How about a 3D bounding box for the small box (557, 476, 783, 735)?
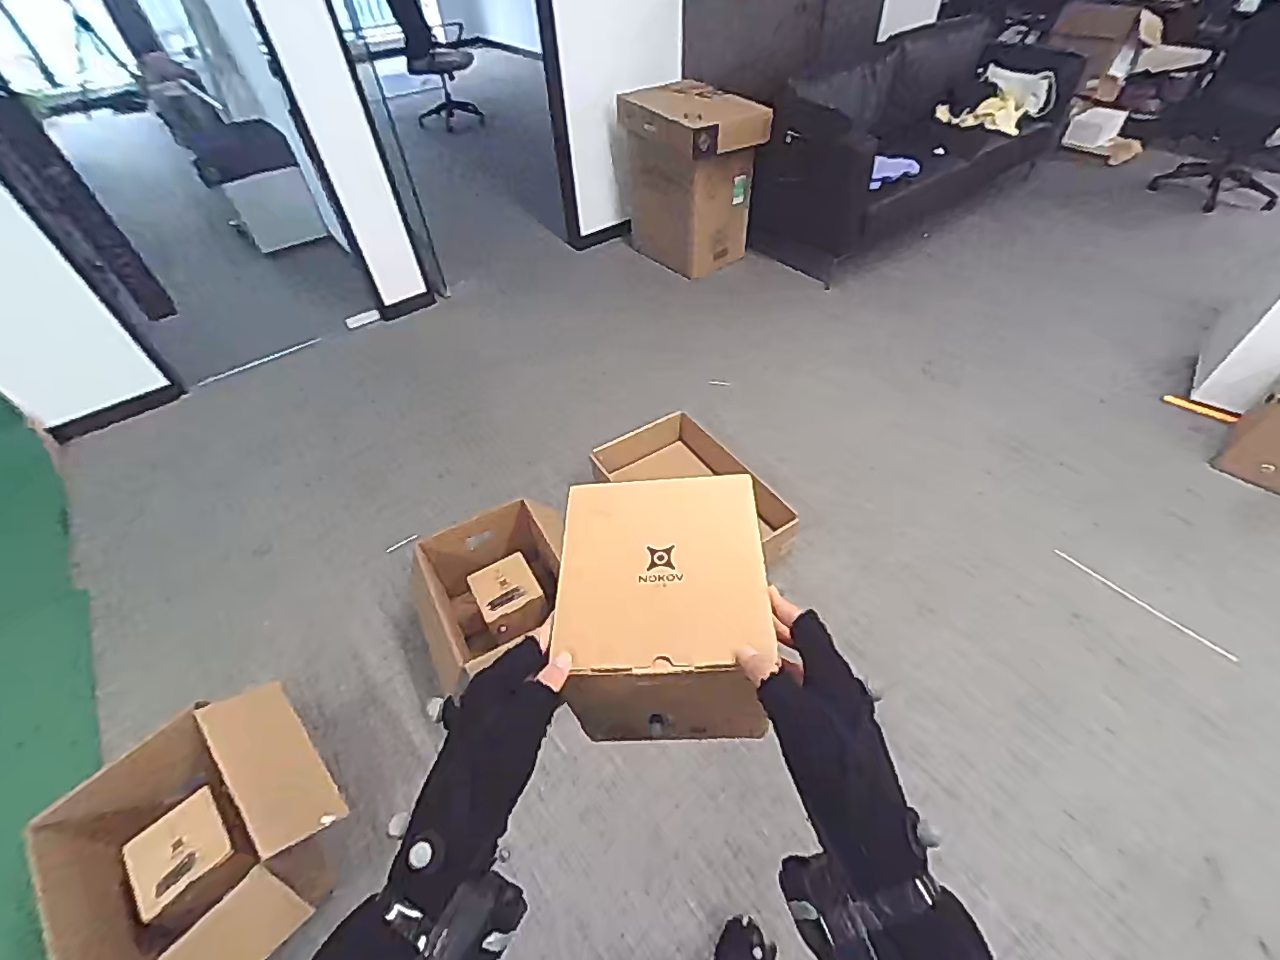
[{"bbox_3d":[0.031,0.118,0.498,0.168,0.176,0.179,-4,50,6],"label":"small box"}]
